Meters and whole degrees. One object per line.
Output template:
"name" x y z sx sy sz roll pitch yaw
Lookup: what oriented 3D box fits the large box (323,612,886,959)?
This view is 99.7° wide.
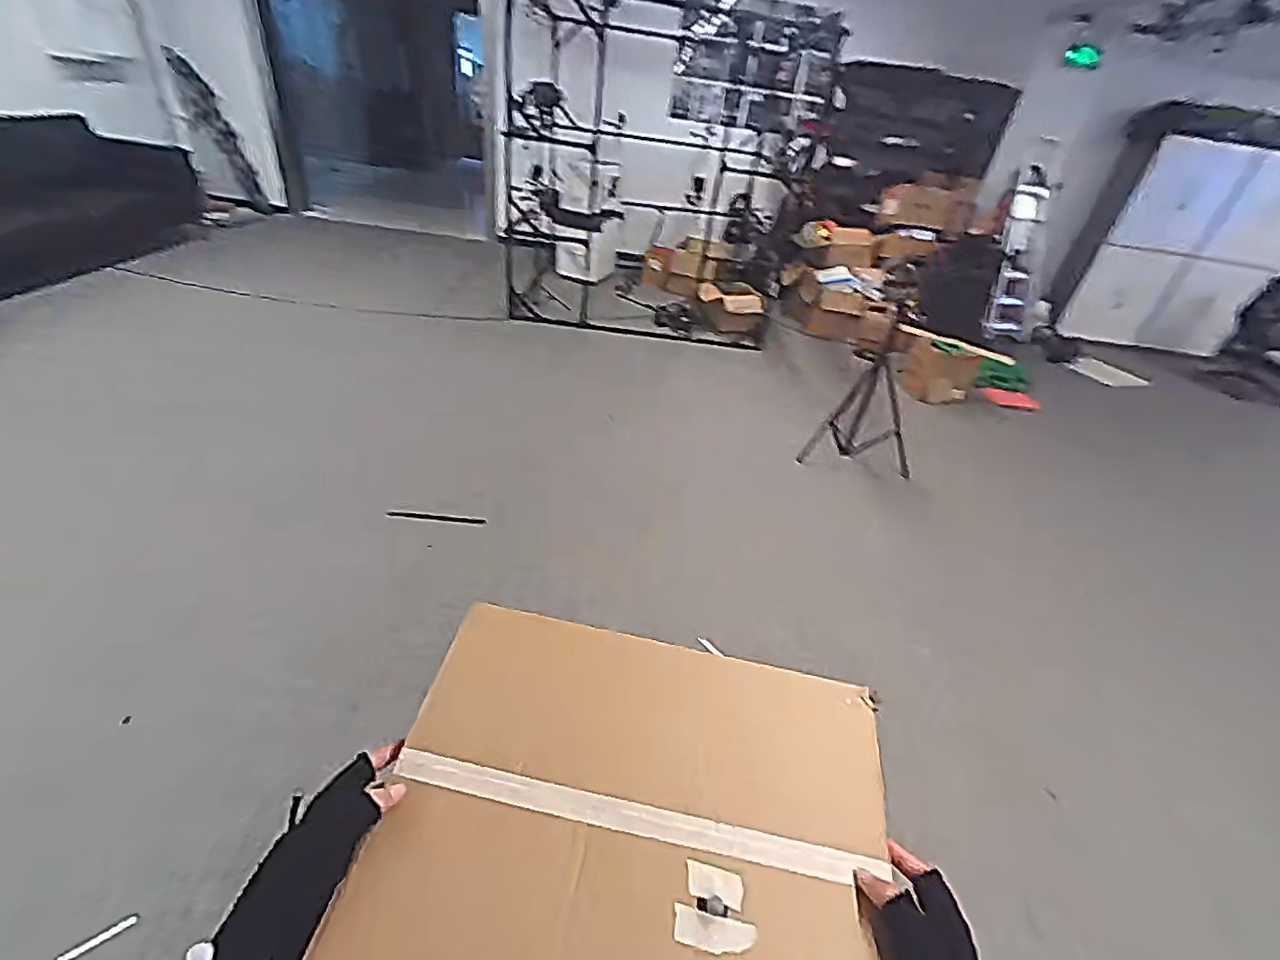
"large box" -0.017 0.383 0.555 0.408 0.320 0.320 12 46 4
